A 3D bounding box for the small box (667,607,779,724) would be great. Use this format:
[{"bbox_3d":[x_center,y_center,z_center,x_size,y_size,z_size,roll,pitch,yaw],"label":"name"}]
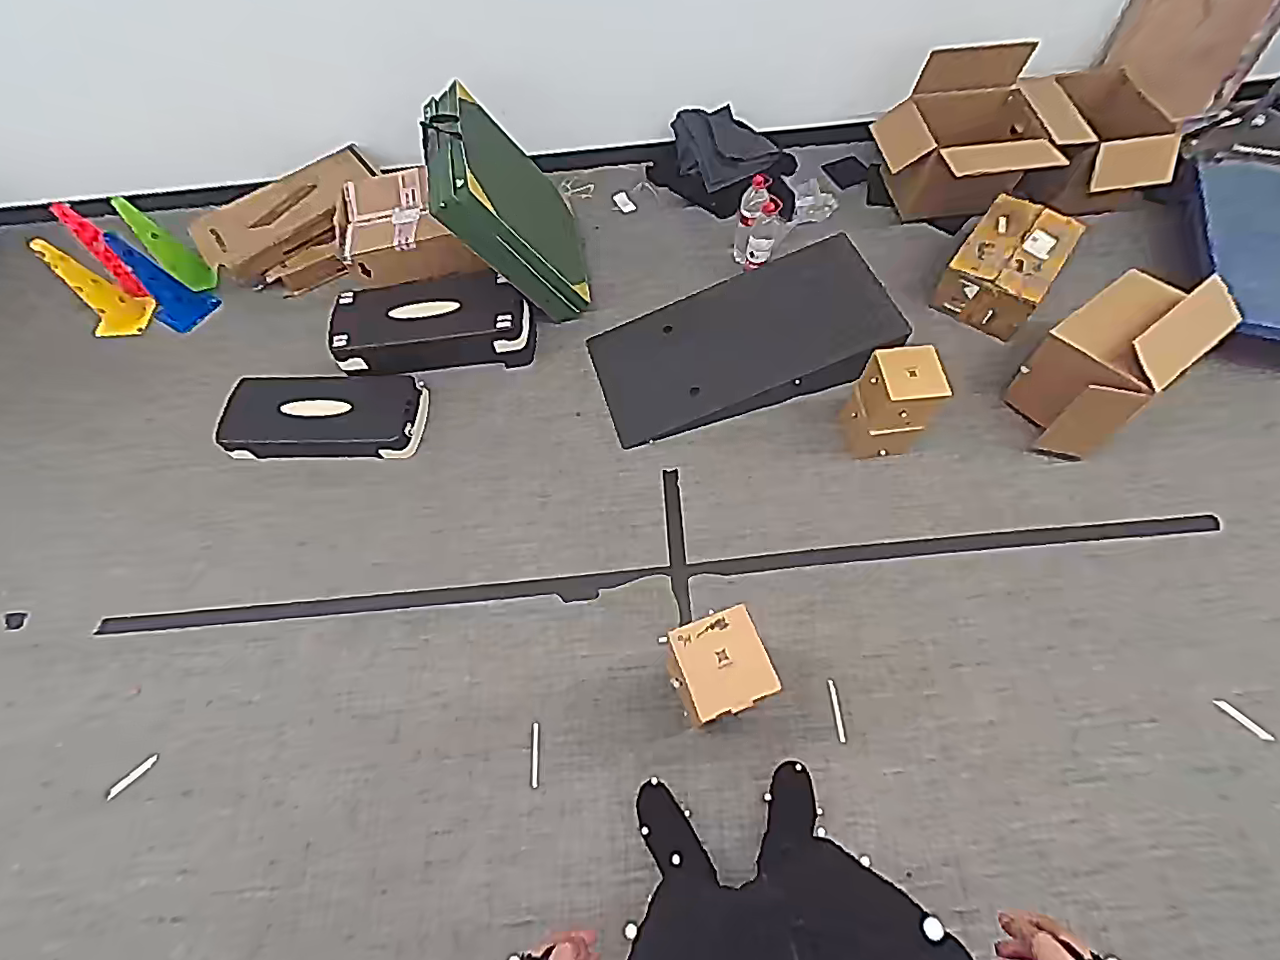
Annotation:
[{"bbox_3d":[0.162,0.382,1.107,0.168,0.176,0.179,-19,65,-7],"label":"small box"}]
